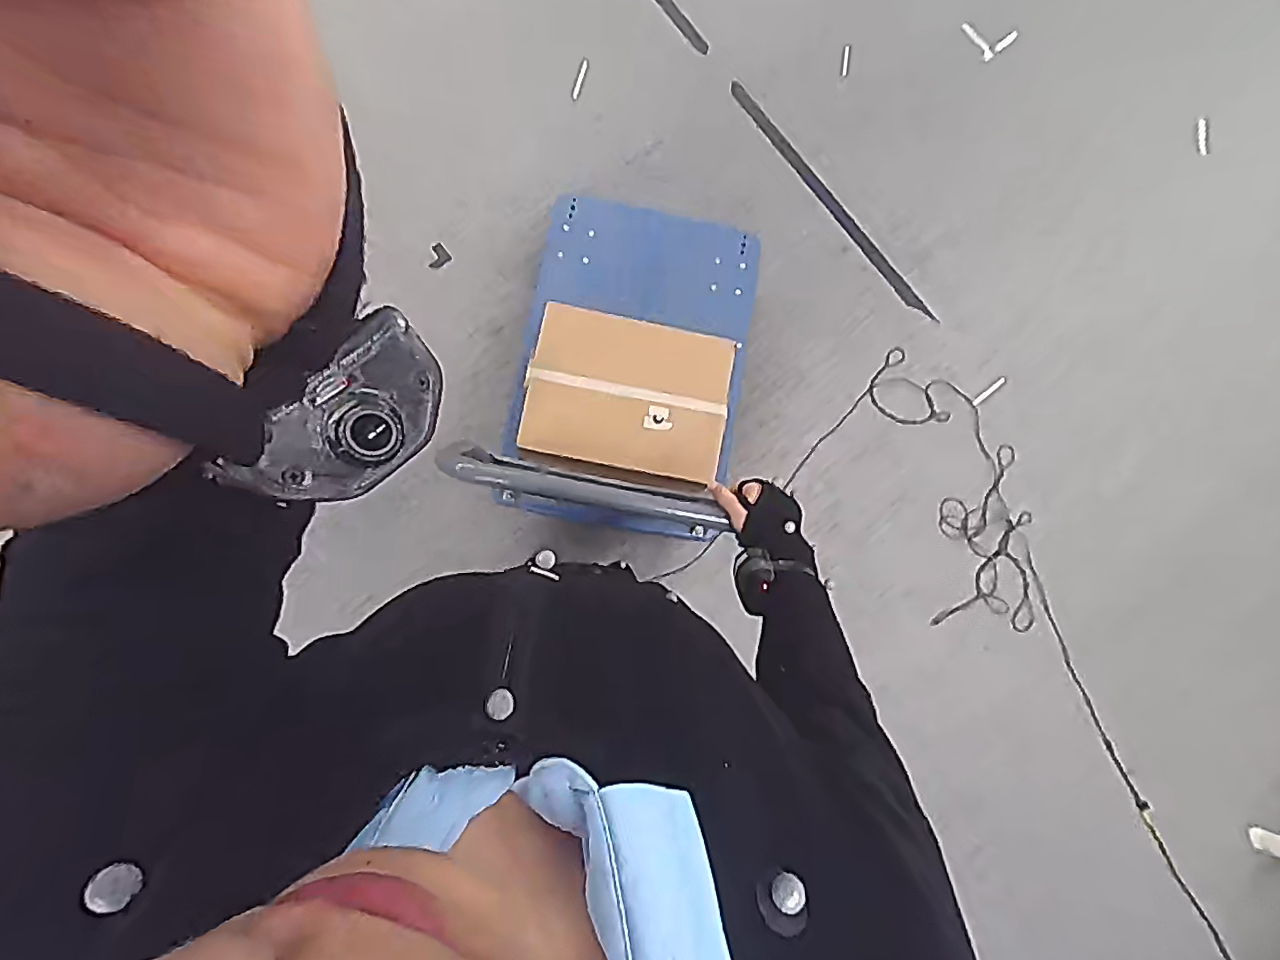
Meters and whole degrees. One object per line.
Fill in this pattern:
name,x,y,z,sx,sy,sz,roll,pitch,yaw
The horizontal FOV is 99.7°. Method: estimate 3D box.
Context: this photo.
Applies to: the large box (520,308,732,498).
large box,-0.039,-0.153,1.248,0.408,0.320,0.320,11,82,-5
